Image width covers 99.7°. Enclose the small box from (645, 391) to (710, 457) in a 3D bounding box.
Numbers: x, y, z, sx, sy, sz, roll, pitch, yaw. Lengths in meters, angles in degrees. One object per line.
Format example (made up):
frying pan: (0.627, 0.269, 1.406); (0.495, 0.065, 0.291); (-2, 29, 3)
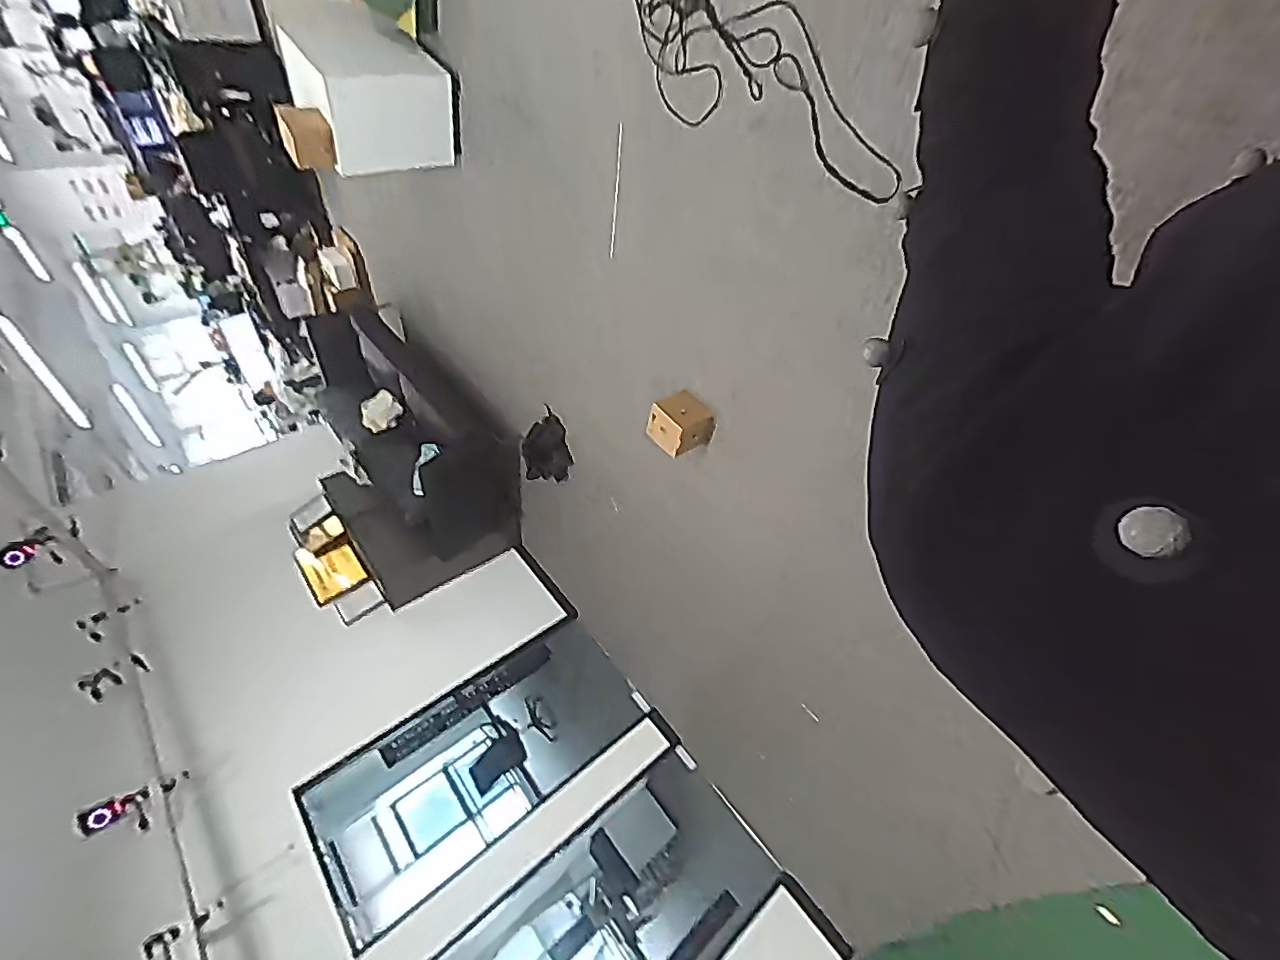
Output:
small box: (0.150, -0.230, 2.148); (0.179, 0.176, 0.168); (45, 144, 25)
